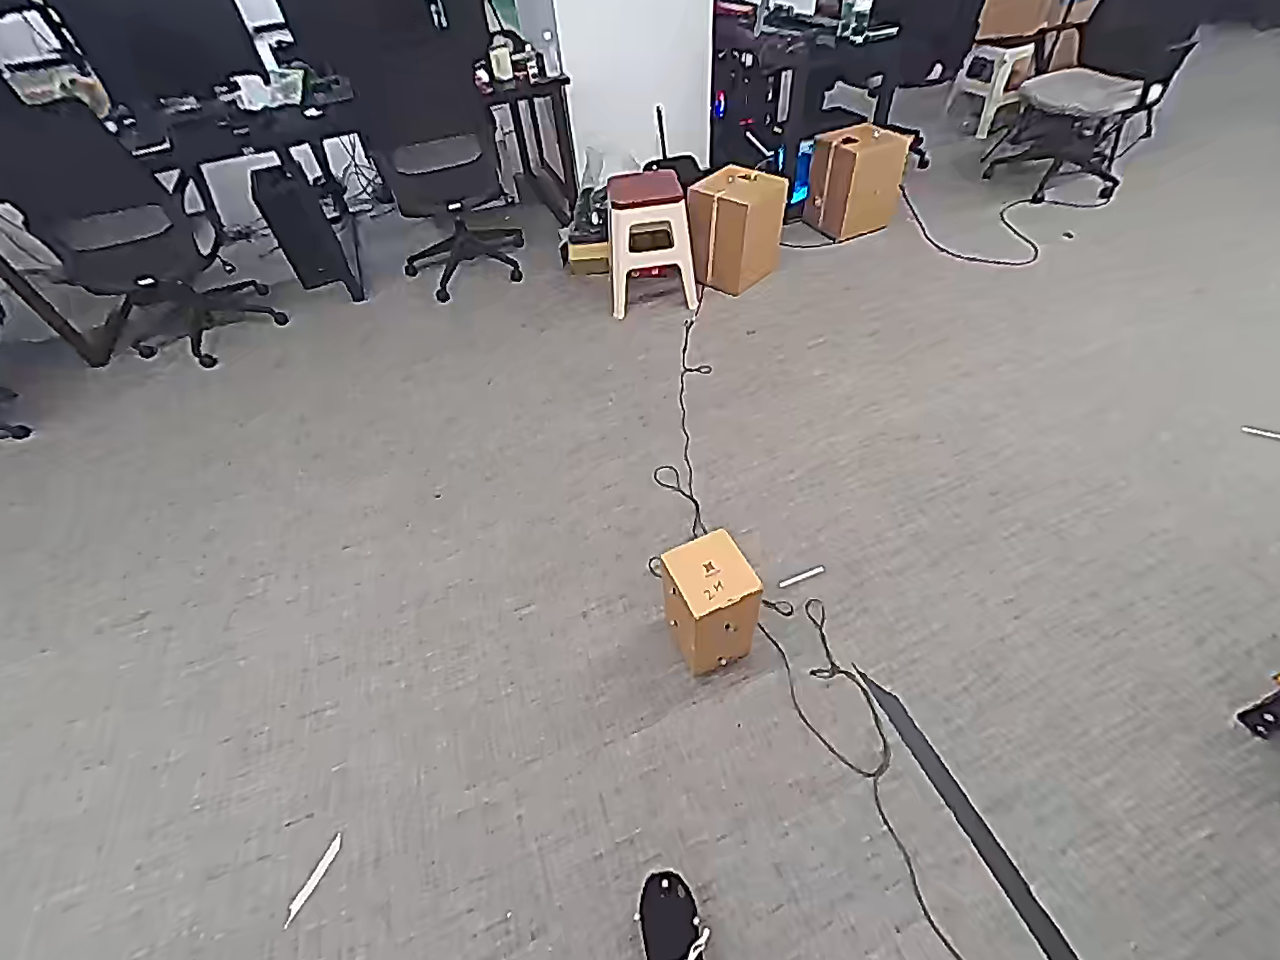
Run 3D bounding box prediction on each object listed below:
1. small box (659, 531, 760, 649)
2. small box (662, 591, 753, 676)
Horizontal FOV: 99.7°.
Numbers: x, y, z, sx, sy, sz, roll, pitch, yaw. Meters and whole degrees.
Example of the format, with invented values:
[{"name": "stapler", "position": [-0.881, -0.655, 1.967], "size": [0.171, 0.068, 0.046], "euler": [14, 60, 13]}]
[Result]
[{"name": "small box", "position": [0.153, 0.253, 1.236], "size": [0.168, 0.176, 0.179], "euler": [-21, 51, -12]}, {"name": "small box", "position": [0.164, 0.360, 1.361], "size": [0.168, 0.176, 0.179], "euler": [-20, 51, -11]}]
